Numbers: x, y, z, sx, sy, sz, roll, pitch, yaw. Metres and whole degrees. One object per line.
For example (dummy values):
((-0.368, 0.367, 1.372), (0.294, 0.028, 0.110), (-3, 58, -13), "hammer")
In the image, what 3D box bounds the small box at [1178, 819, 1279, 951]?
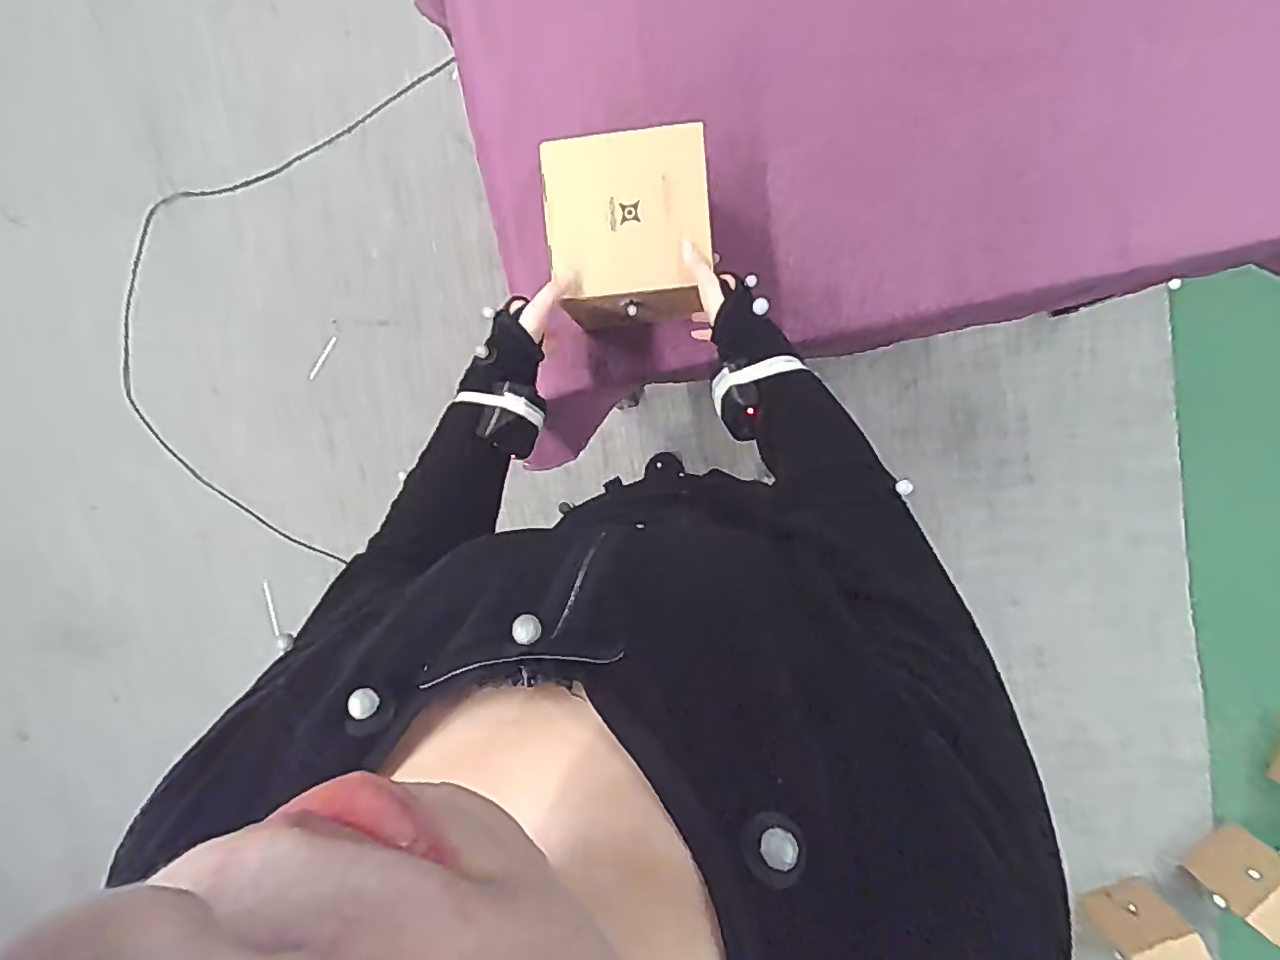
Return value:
((1.523, 1.000, 1.344), (0.168, 0.176, 0.179), (38, 98, 1), "small box")

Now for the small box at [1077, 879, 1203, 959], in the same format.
((1.280, 1.171, 1.384), (0.168, 0.176, 0.179), (-26, 92, 7), "small box")

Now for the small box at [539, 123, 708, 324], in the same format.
((-0.010, -0.290, 0.651), (0.179, 0.176, 0.168), (-3, 95, 5), "small box")
